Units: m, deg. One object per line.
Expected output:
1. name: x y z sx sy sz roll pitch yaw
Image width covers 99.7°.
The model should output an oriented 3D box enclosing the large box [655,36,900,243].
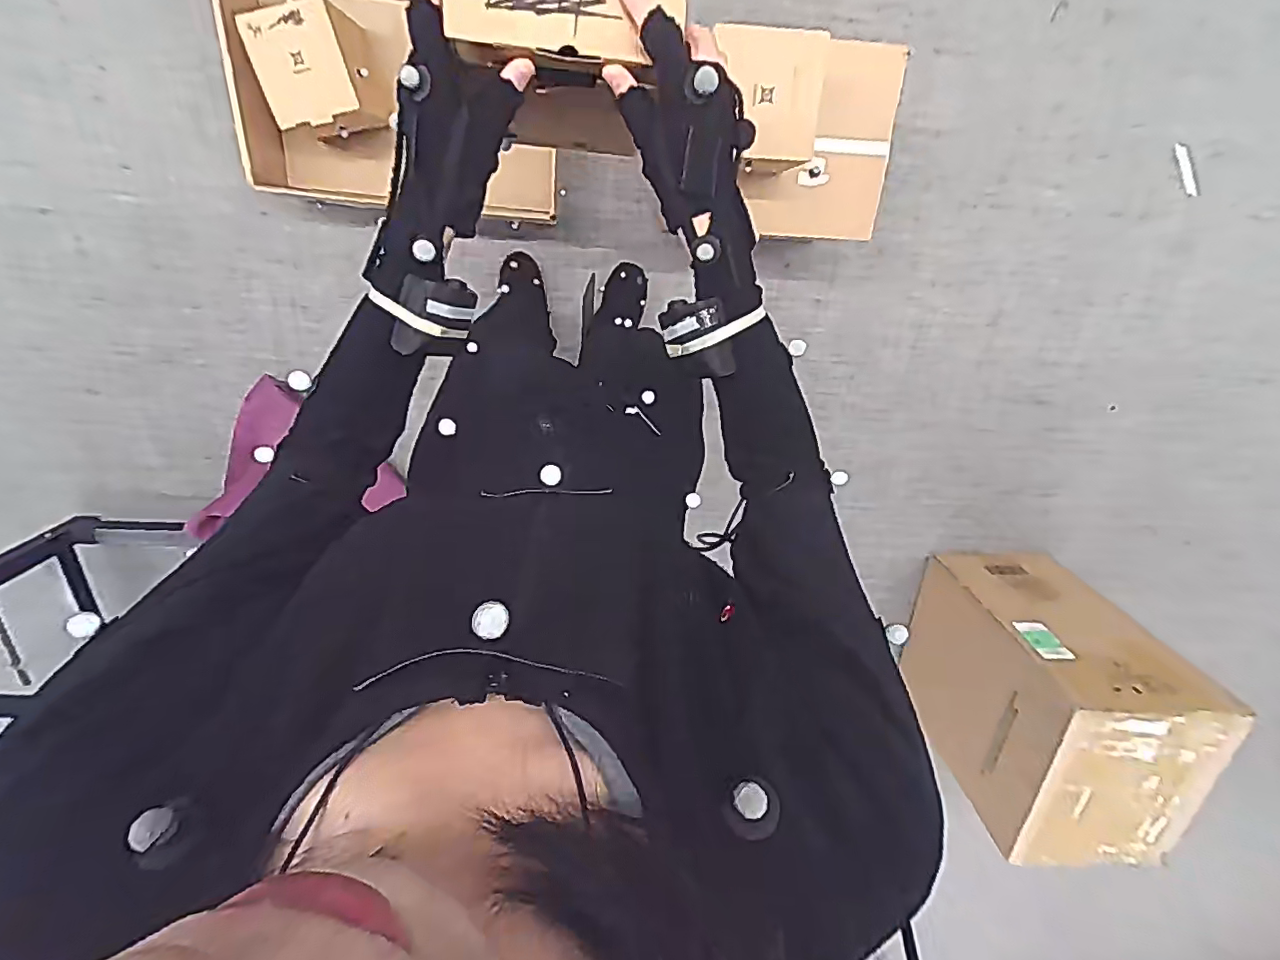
1. large box: 0.244 -0.672 1.128 0.408 0.320 0.320 1 114 -4

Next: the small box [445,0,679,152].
1. small box: -0.064 -0.397 0.445 0.168 0.176 0.179 0 103 -12
